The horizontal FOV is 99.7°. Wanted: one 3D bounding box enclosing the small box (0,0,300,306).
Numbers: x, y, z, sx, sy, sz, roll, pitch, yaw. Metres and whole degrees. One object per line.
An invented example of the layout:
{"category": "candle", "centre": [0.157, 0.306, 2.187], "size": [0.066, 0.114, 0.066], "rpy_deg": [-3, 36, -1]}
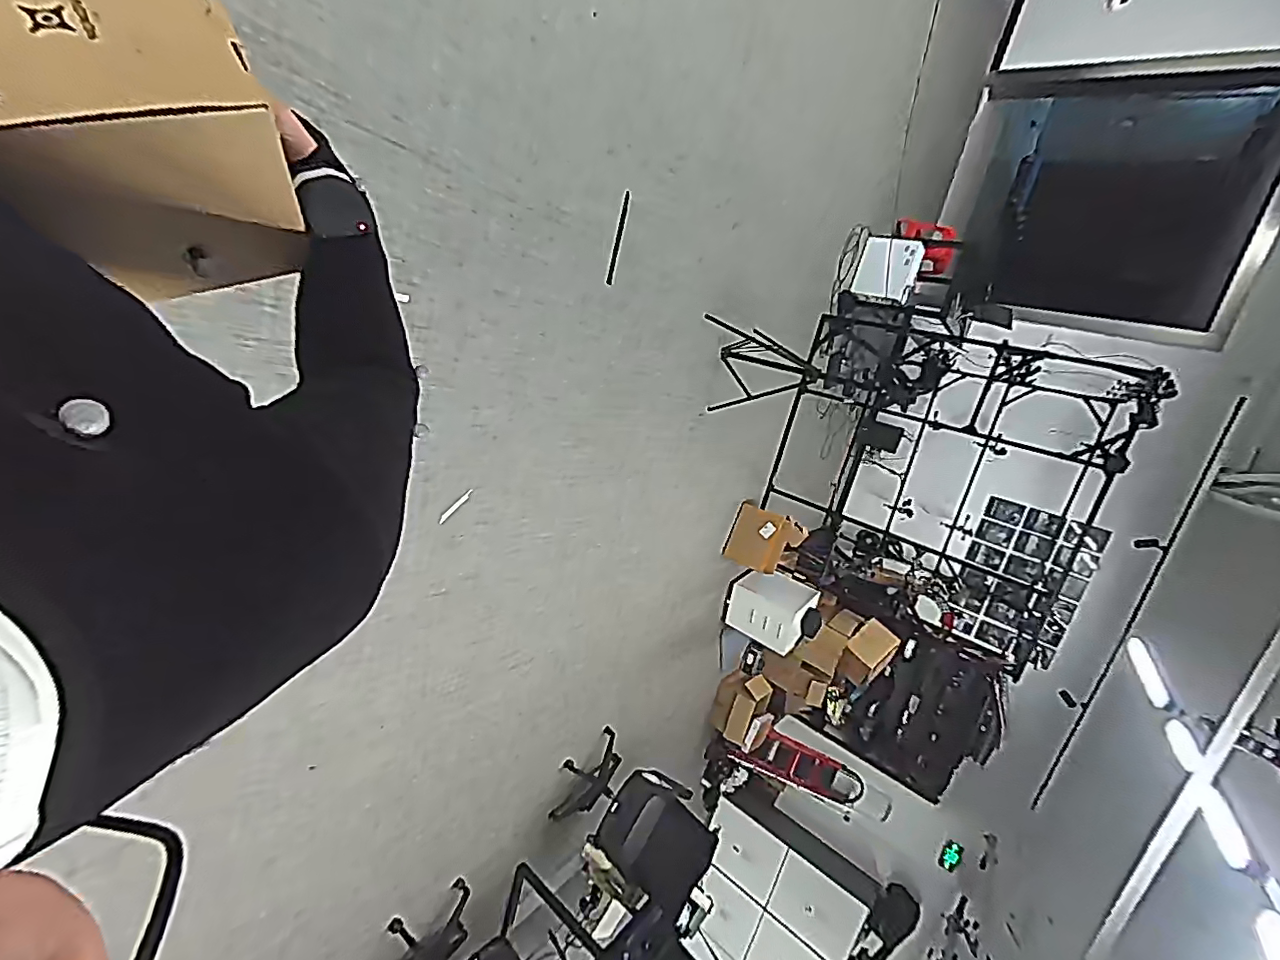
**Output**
{"category": "small box", "centre": [-0.404, -0.272, 0.438], "size": [0.179, 0.168, 0.176], "rpy_deg": [-27, 171, -28]}
